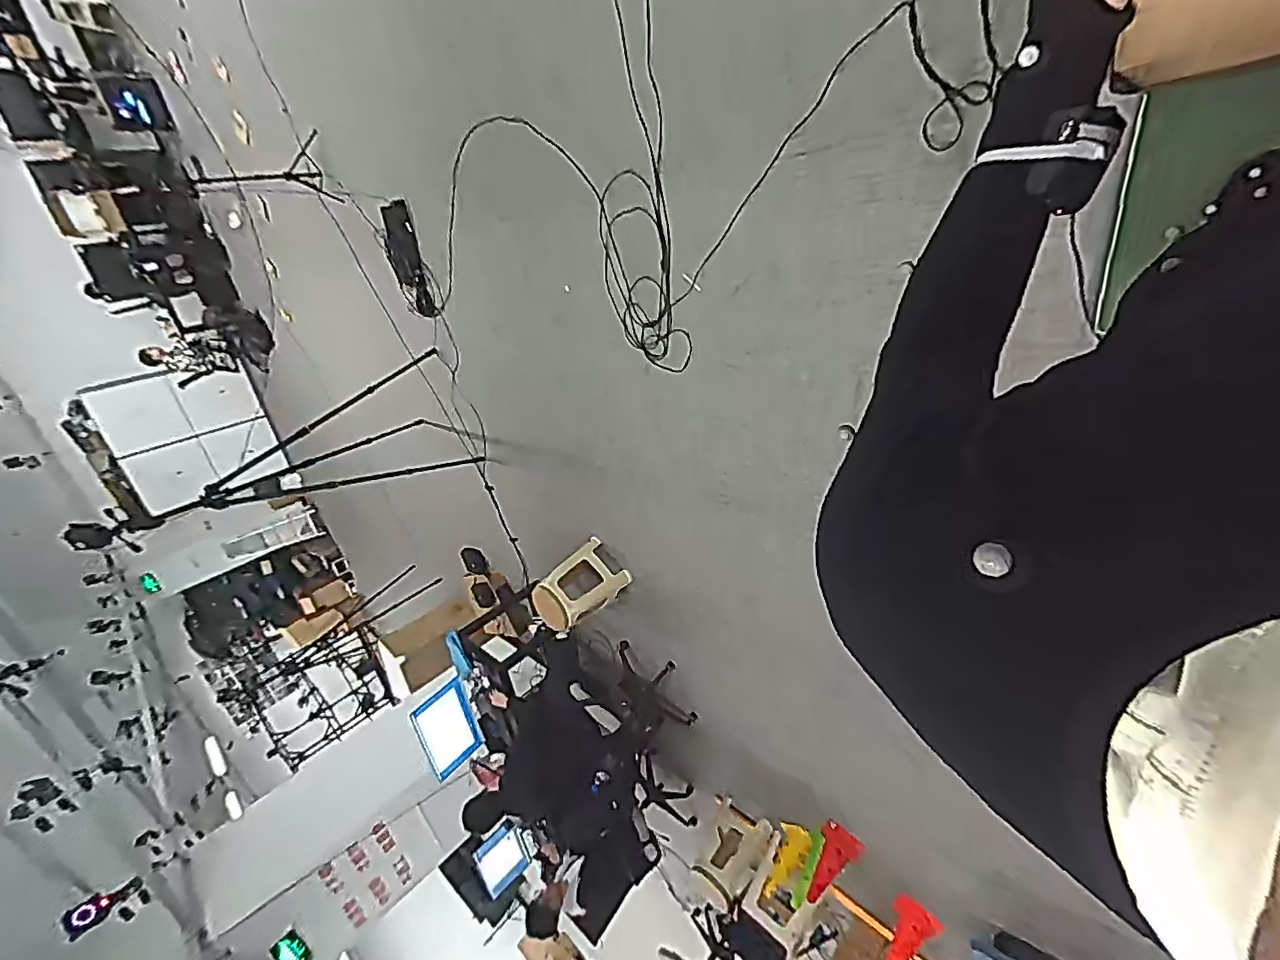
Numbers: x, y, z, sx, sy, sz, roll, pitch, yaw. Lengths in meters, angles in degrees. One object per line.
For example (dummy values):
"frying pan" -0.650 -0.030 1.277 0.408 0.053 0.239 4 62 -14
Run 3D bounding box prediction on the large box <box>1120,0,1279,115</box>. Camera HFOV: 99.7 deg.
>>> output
"large box" 0.583 -0.457 0.320 0.408 0.320 0.320 12 123 43
